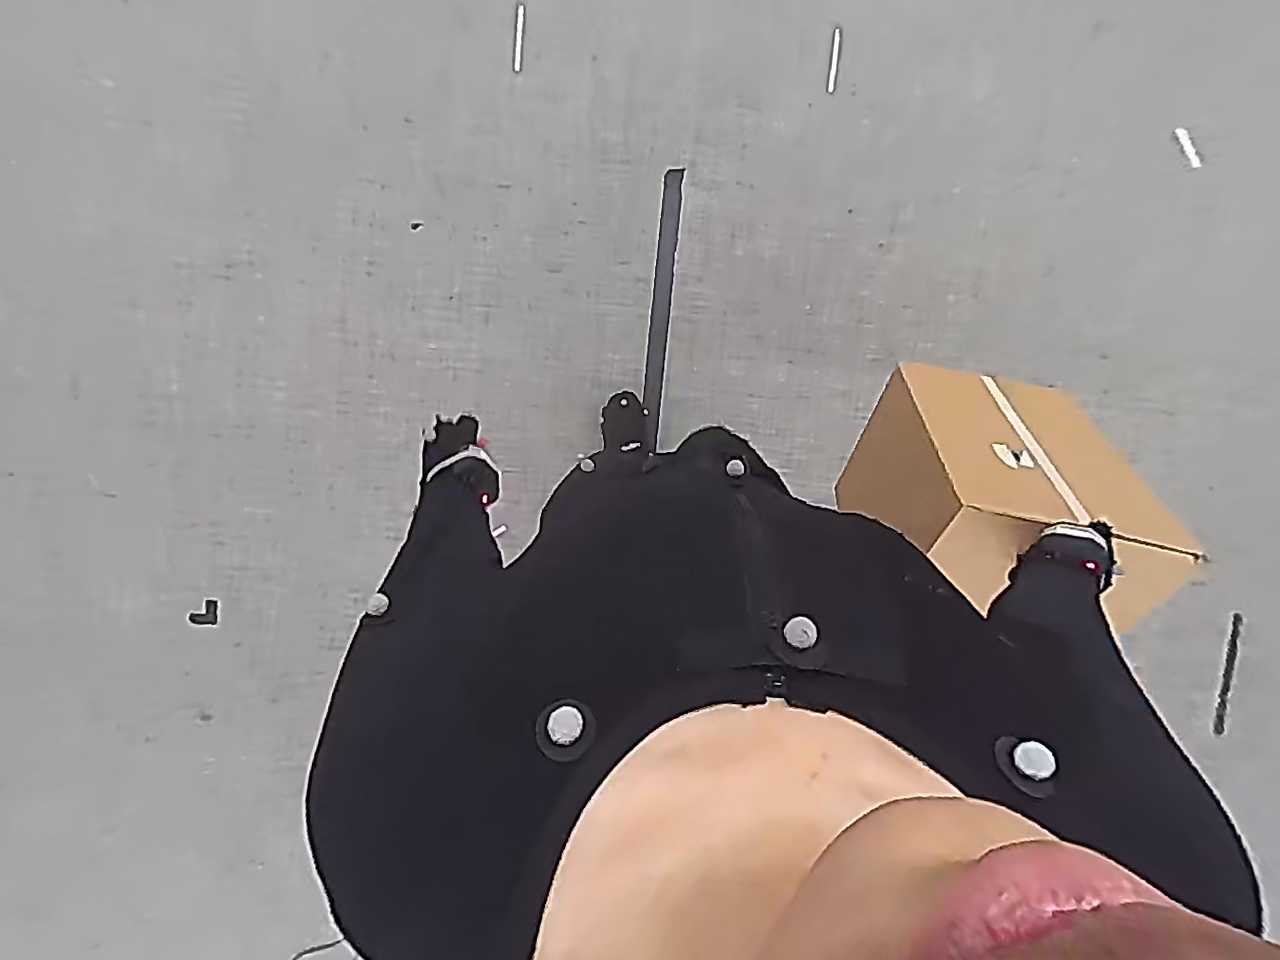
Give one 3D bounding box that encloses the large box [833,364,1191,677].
[{"bbox_3d":[0.563,0.057,0.938,0.320,0.408,0.320,13,131,1],"label":"large box"}]
